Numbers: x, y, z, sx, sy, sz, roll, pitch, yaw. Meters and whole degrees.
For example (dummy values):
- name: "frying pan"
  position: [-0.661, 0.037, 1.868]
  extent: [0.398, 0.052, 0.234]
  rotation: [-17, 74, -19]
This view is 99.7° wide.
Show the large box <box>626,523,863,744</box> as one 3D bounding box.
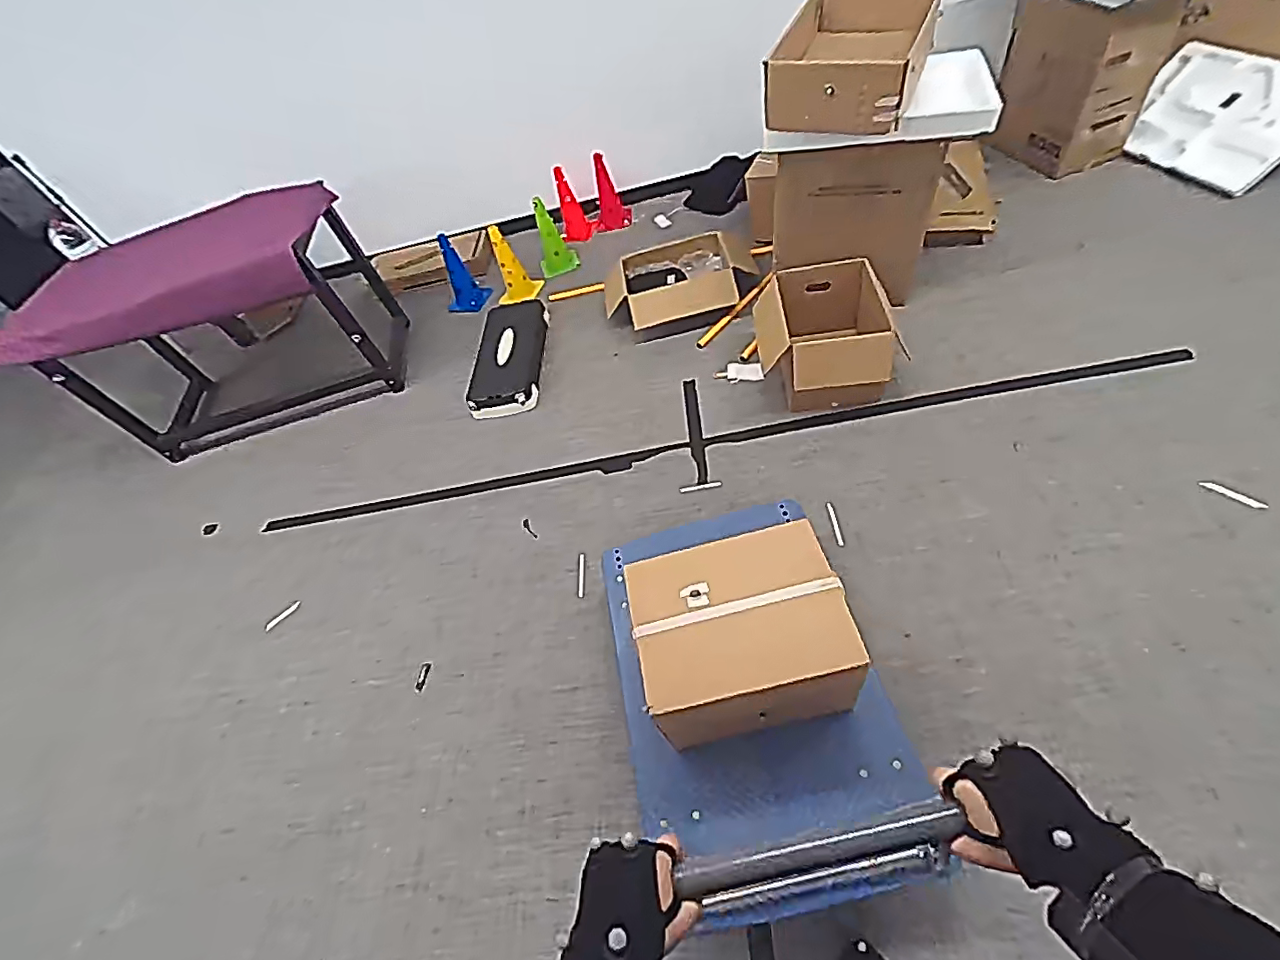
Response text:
- name: "large box"
  position: [0.218, 0.347, 1.186]
  extent: [0.408, 0.320, 0.320]
  rotation: [-16, 51, 4]
